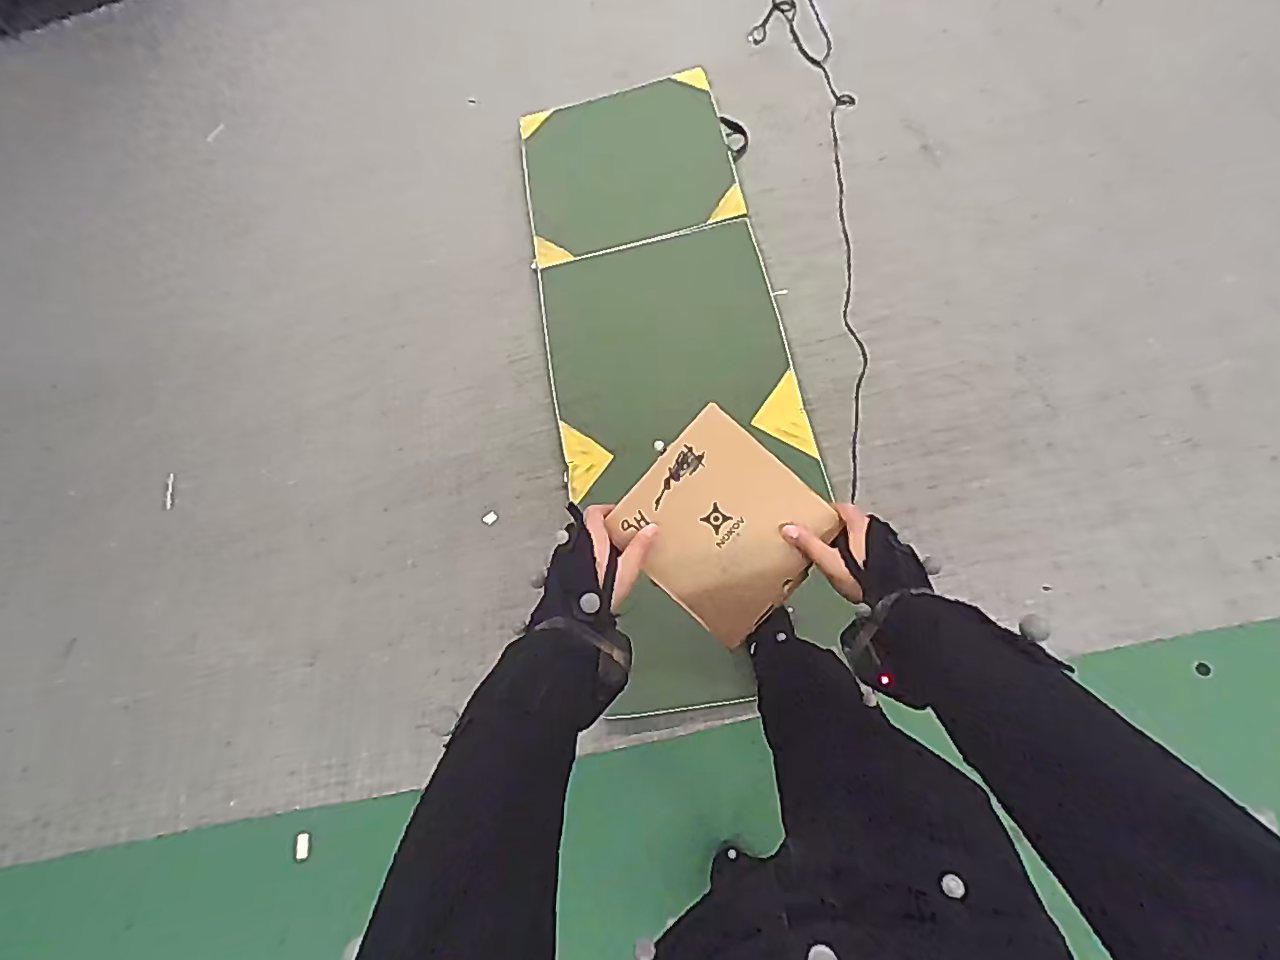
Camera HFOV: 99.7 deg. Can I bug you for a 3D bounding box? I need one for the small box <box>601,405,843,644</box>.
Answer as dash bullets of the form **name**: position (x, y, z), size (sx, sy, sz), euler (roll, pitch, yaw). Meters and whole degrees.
- **small box**: position (0.080, 0.045, 0.598), size (0.179, 0.176, 0.168), euler (42, 88, 3)
